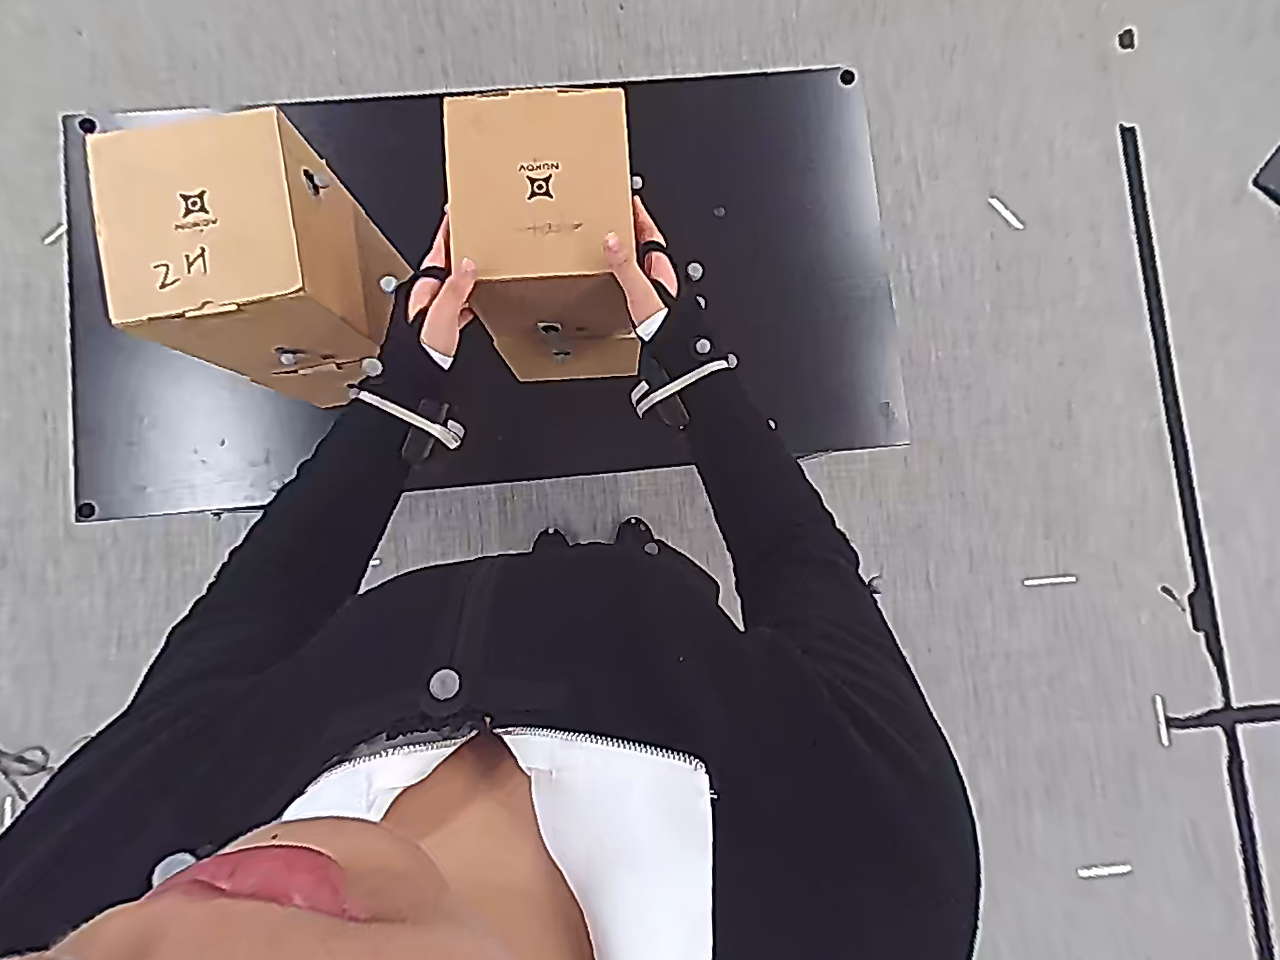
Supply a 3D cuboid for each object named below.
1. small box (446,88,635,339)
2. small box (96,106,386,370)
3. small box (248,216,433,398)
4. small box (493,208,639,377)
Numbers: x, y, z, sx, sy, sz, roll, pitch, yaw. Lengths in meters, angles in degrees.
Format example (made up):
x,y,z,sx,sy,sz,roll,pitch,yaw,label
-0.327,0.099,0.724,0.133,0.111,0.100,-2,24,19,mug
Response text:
x,y,z,sx,sy,sz,roll,pitch,yaw,label
-0.093,-0.263,0.567,0.168,0.176,0.179,-4,86,-1,small box
-0.386,-0.230,0.553,0.168,0.176,0.179,-11,86,-2,small box
-0.391,-0.213,0.717,0.168,0.176,0.179,-10,86,-2,small box
-0.094,-0.242,0.728,0.179,0.176,0.168,-4,86,-3,small box
